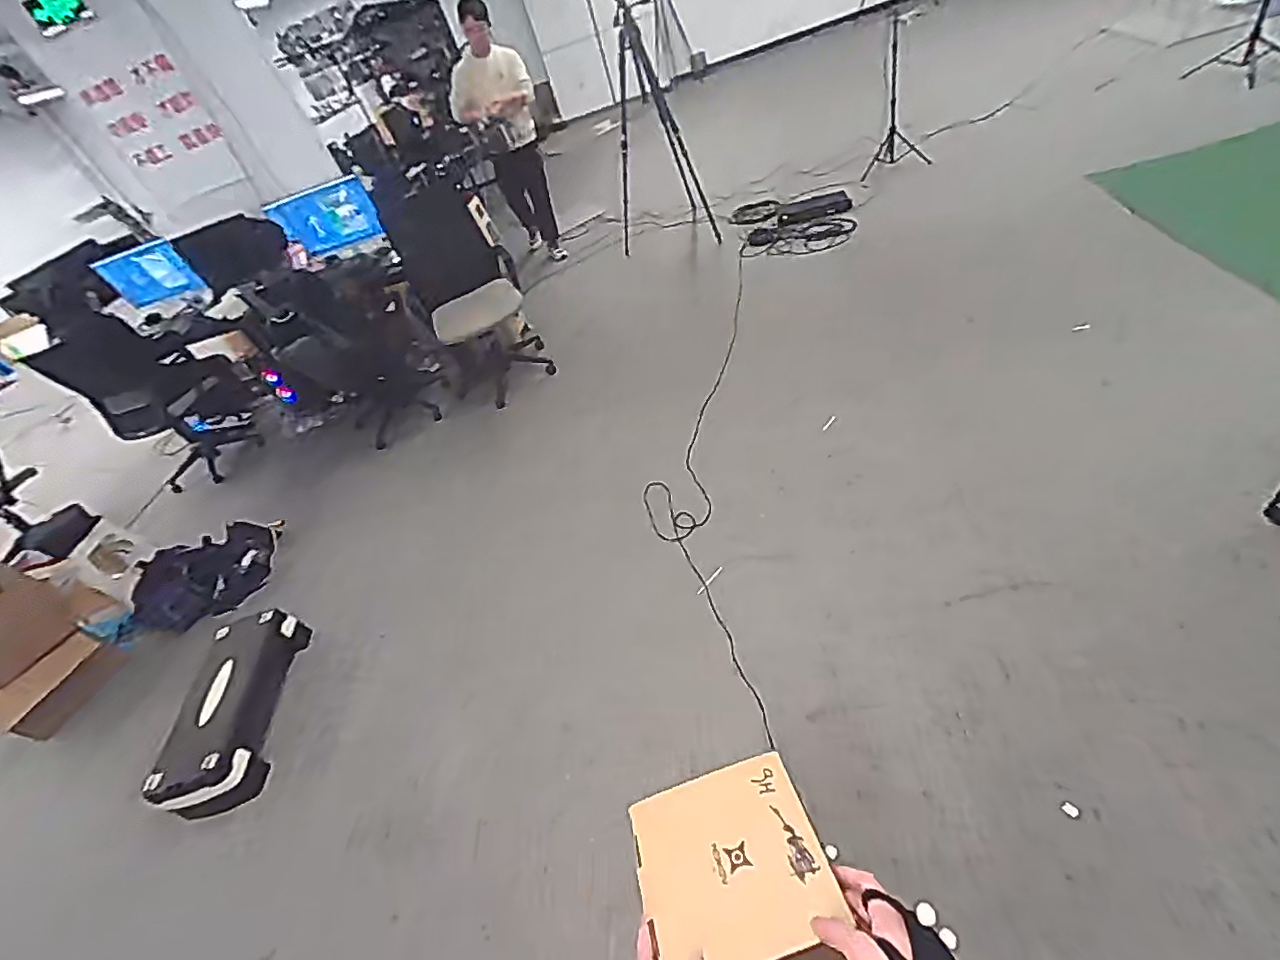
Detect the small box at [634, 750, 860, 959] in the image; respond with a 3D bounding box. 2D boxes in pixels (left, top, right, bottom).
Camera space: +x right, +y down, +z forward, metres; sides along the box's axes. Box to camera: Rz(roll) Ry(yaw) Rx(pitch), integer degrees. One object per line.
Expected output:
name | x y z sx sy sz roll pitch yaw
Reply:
small box | 0.111 0.428 0.568 0.179 0.176 0.168 -19 34 -1
